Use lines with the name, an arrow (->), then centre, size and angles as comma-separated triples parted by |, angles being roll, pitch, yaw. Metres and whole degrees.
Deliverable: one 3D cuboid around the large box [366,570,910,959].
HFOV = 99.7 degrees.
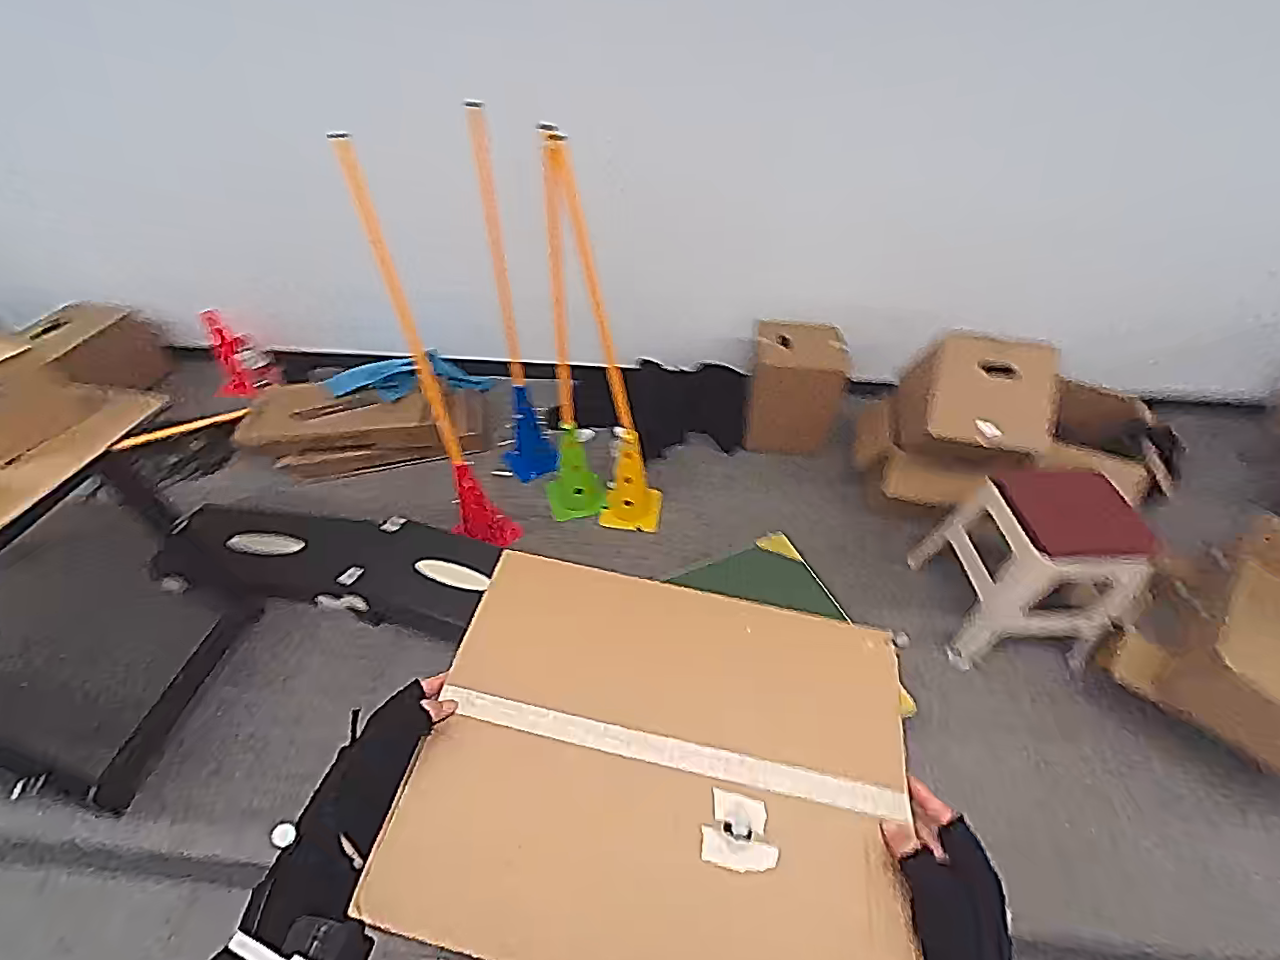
large box -> 0.013, 0.339, 0.581 | 0.408, 0.320, 0.320 | 12, 52, 6
